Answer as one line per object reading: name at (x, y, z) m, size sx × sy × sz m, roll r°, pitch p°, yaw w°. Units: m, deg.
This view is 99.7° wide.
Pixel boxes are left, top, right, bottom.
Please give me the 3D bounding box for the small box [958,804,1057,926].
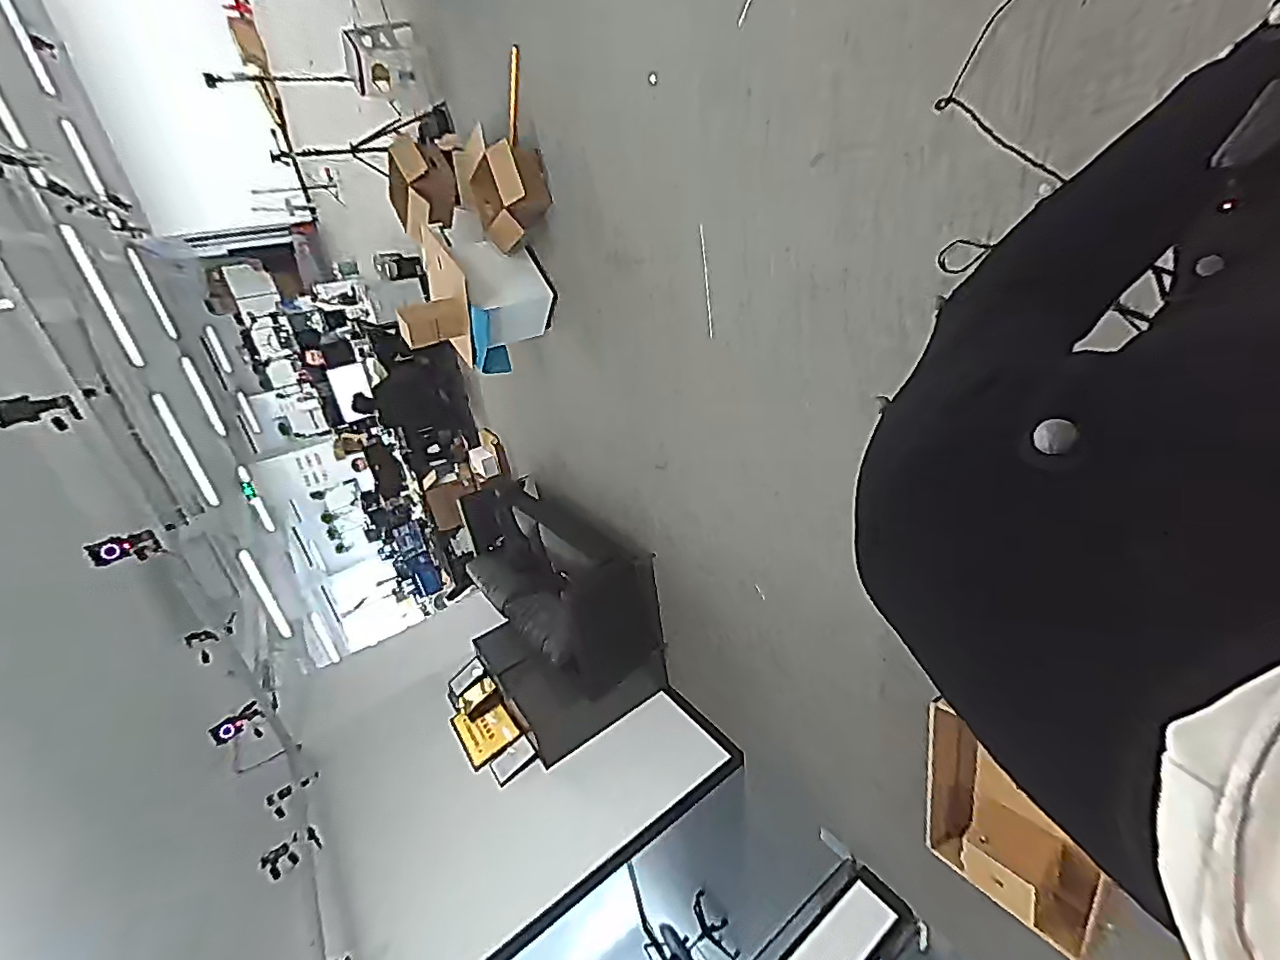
small box at (0.999, 1.031, 1.467) m, size 0.179 × 0.176 × 0.168 m, roll 17°, pitch 127°, yaw 55°
